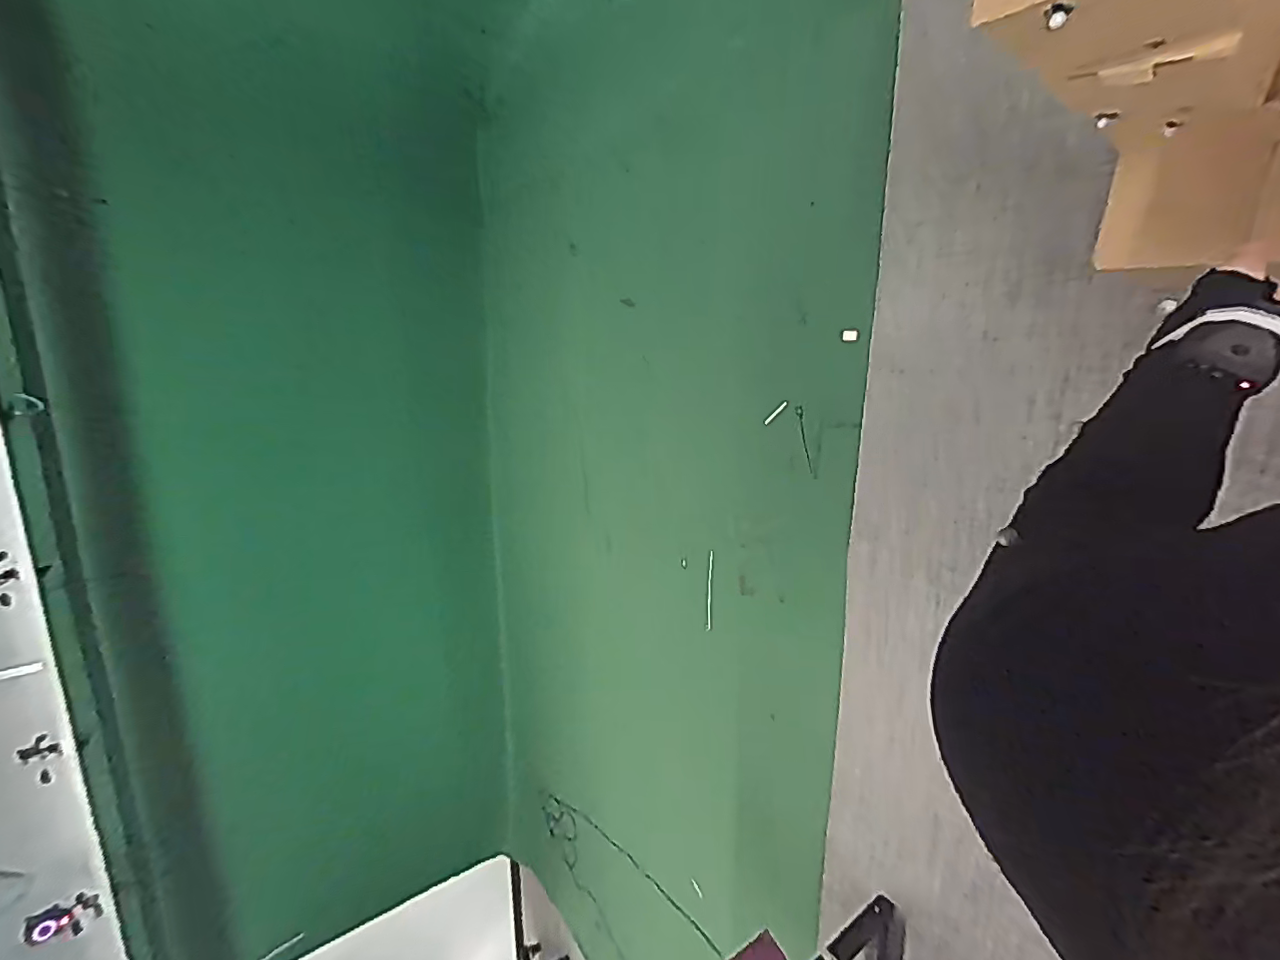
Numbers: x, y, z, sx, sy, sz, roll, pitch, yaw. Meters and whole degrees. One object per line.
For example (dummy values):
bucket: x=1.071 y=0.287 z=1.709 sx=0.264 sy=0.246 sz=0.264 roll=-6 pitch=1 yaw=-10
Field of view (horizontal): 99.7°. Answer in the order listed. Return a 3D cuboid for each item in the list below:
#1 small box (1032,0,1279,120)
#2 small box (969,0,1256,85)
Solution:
small box: x=0.560 y=-0.496 z=0.560 sx=0.168 sy=0.176 sz=0.179 roll=33 pitch=121 yaw=47
small box: x=0.425 y=-0.487 z=0.465 sx=0.168 sy=0.176 sz=0.179 roll=25 pitch=115 yaw=51
